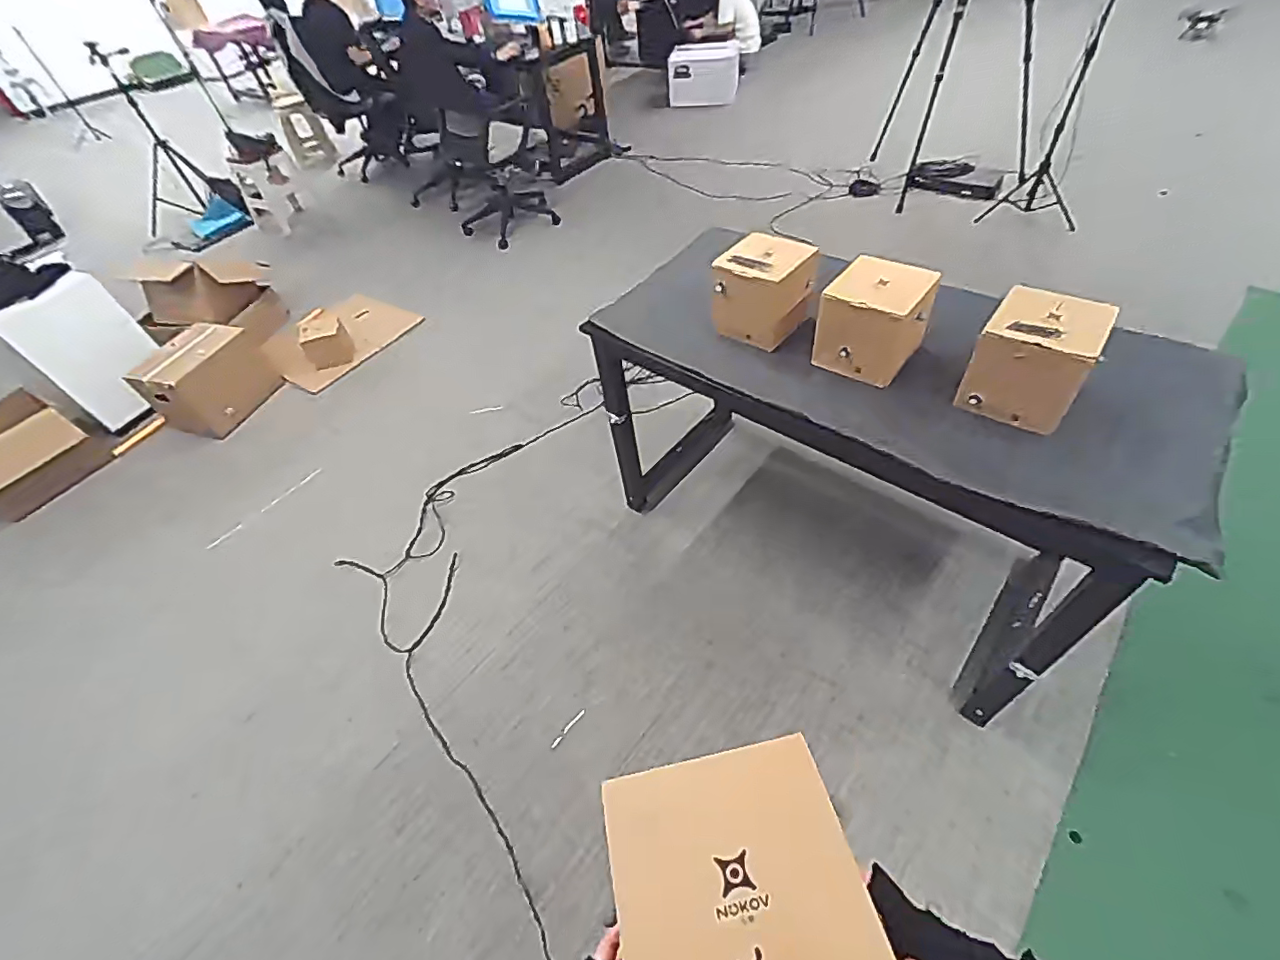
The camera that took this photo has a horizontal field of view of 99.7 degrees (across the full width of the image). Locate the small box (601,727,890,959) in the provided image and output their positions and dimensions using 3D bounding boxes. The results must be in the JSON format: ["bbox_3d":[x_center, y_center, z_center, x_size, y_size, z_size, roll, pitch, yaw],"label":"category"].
[{"bbox_3d":[0.070,0.325,0.413,0.168,0.176,0.179,-12,42,-2],"label":"small box"}]

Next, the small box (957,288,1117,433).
[{"bbox_3d":[0.700,-0.213,0.972,0.168,0.176,0.179,29,58,29],"label":"small box"}]

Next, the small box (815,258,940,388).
[{"bbox_3d":[0.475,-0.320,1.106,0.168,0.176,0.179,29,59,29],"label":"small box"}]
